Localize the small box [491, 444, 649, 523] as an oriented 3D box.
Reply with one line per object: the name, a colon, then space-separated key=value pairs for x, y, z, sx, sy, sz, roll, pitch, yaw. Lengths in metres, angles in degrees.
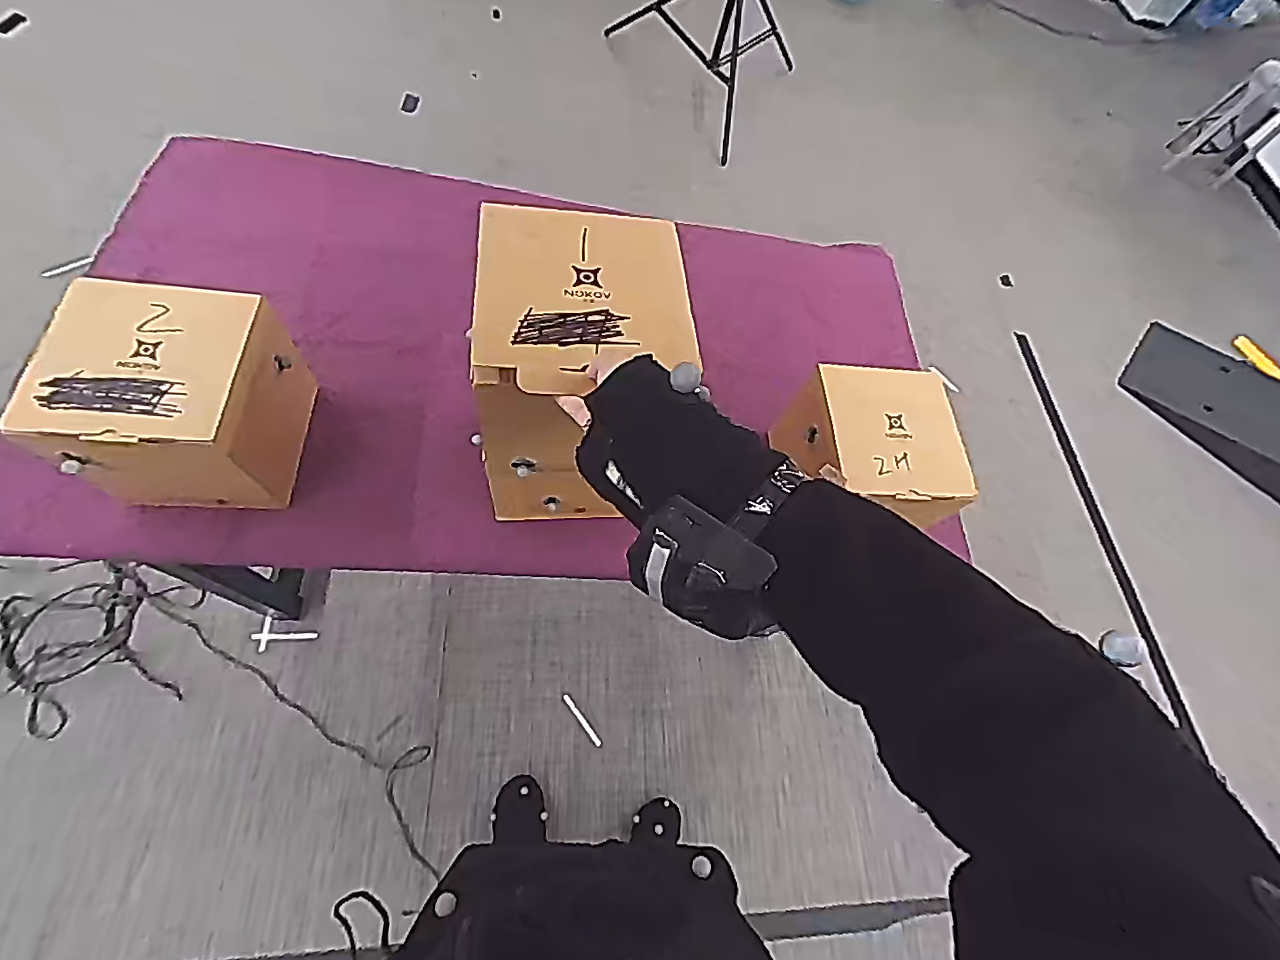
small box: x=-0.088 y=-0.060 z=0.645 sx=0.168 sy=0.176 sz=0.179 roll=-1 pitch=66 yaw=-12

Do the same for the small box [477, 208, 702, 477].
small box: x=-0.052 y=-0.110 z=0.492 sx=0.168 sy=0.176 sz=0.179 roll=0 pitch=66 yaw=-11

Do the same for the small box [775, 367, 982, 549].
small box: x=0.289 y=-0.022 z=0.701 sx=0.168 sy=0.176 sz=0.179 roll=2 pitch=65 yaw=-9
